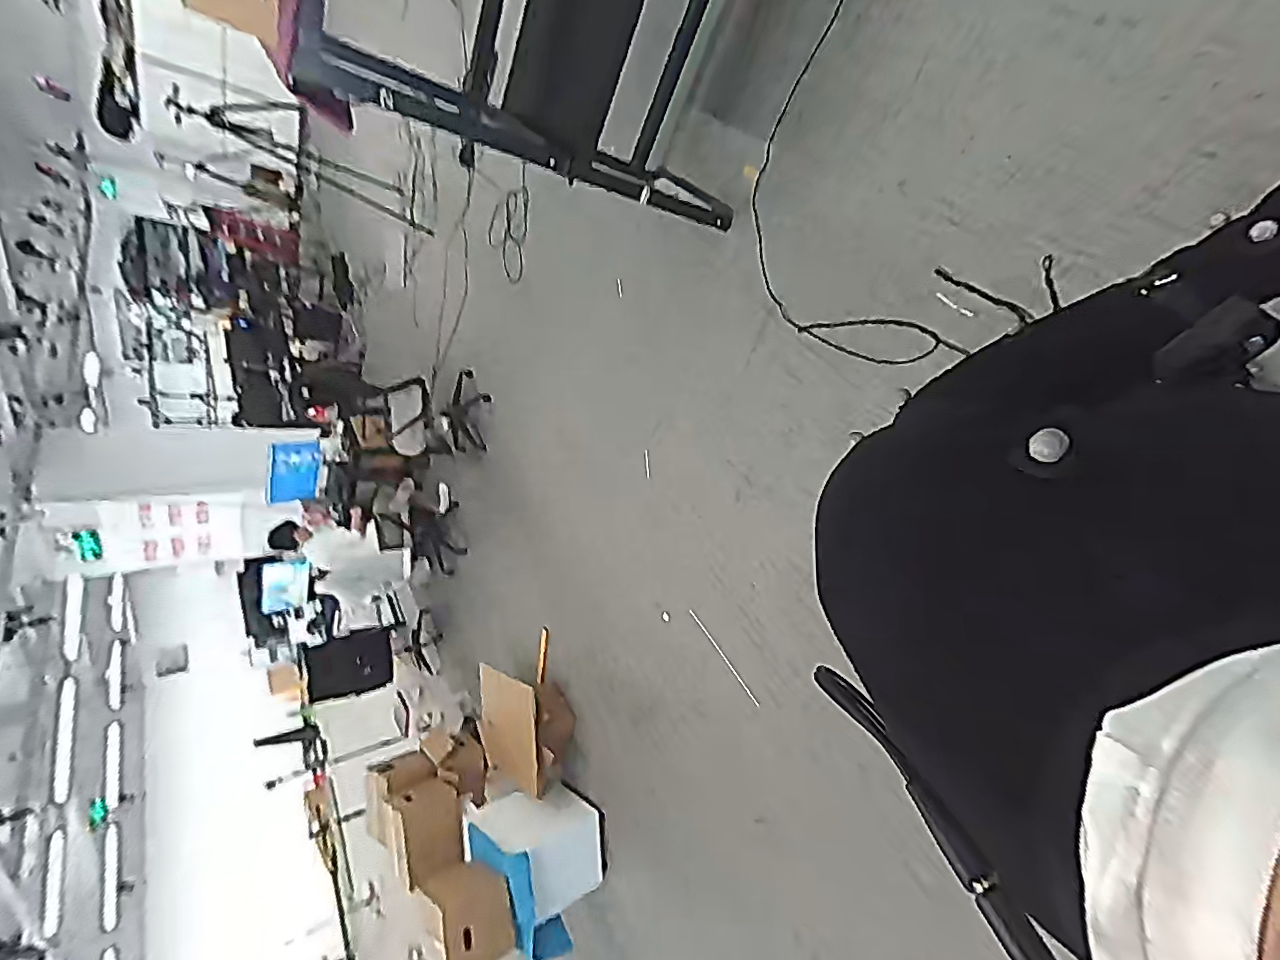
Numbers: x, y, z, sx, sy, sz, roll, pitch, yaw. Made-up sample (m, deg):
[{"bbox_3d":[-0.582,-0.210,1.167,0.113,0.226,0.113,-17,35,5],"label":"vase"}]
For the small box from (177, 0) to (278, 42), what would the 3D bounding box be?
[{"bbox_3d":[-0.865,-1.070,1.127,0.168,0.176,0.179,51,127,35],"label":"small box"}]
